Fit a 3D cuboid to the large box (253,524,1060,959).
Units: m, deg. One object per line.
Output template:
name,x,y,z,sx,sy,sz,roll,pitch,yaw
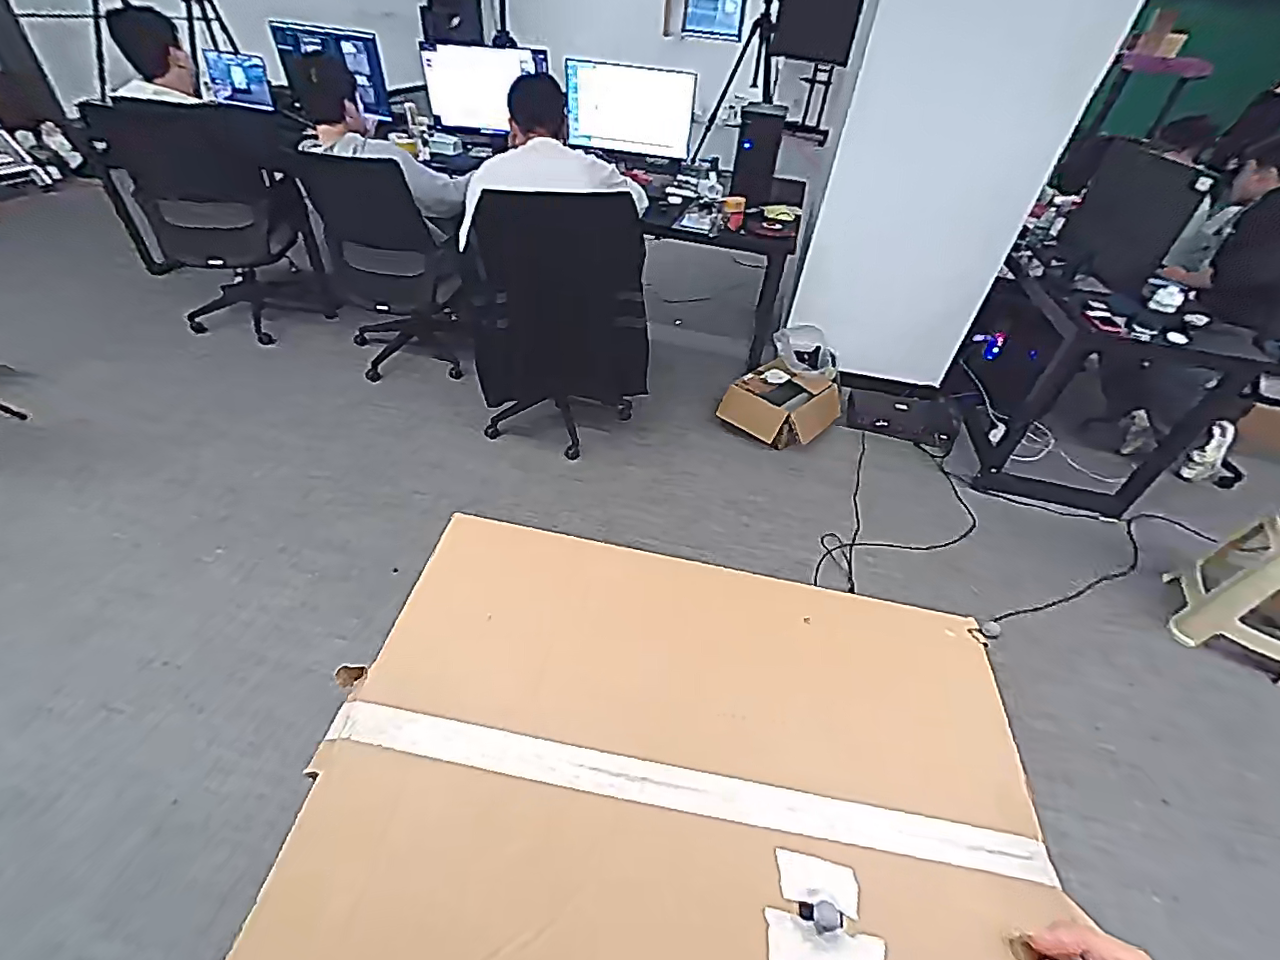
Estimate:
large box,0.011,0.279,0.425,0.408,0.320,0.320,12,48,0
